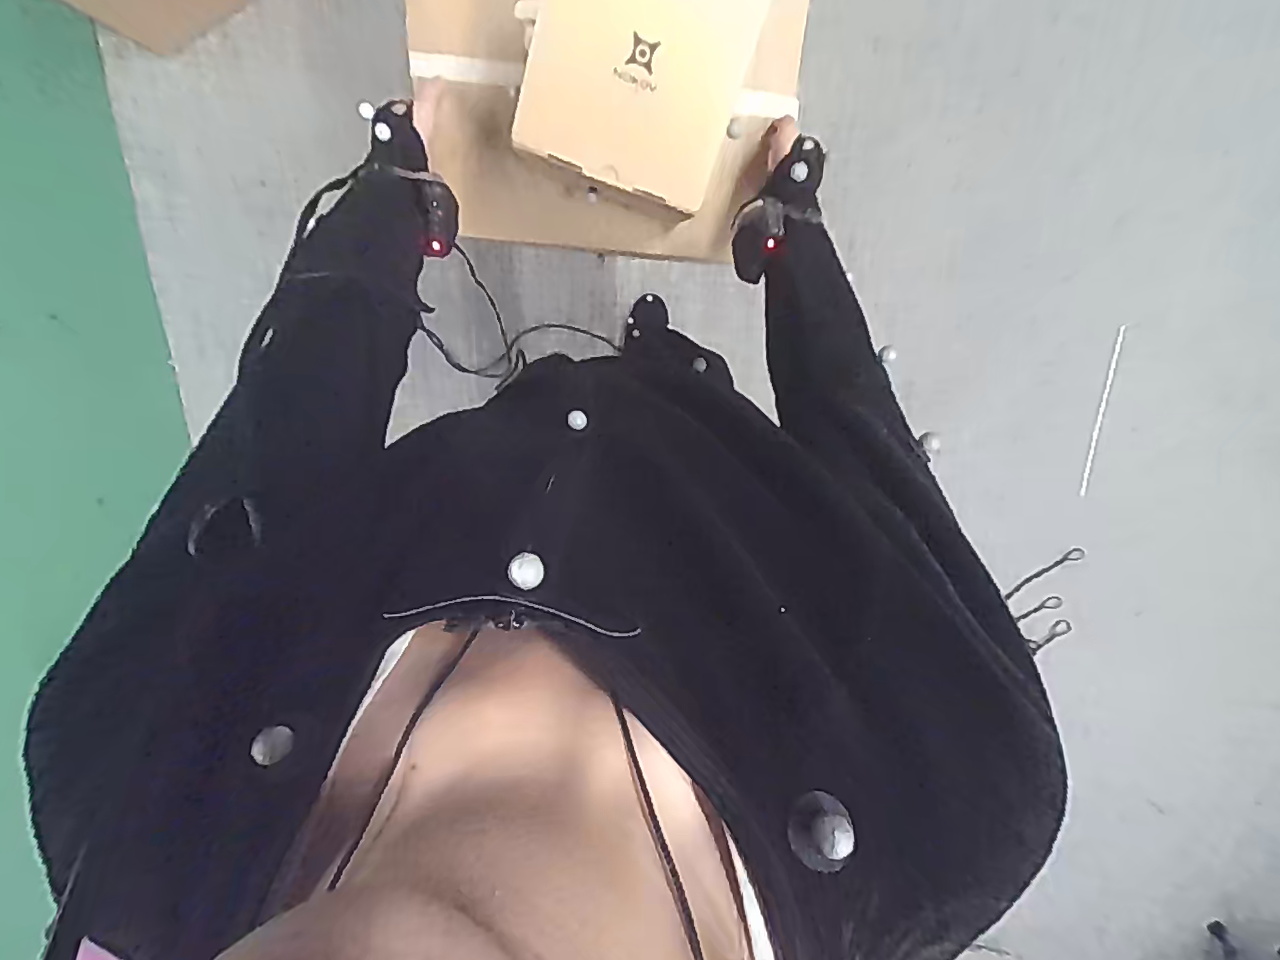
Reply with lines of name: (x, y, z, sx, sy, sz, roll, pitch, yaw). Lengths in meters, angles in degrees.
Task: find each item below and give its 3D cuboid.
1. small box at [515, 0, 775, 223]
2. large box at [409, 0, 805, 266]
small box: (-0.003, -0.351, 0.487, 0.168, 0.176, 0.179, 15, 111, -10)
large box: (-0.039, -0.457, 0.707, 0.408, 0.320, 0.320, 3, 110, -3)
